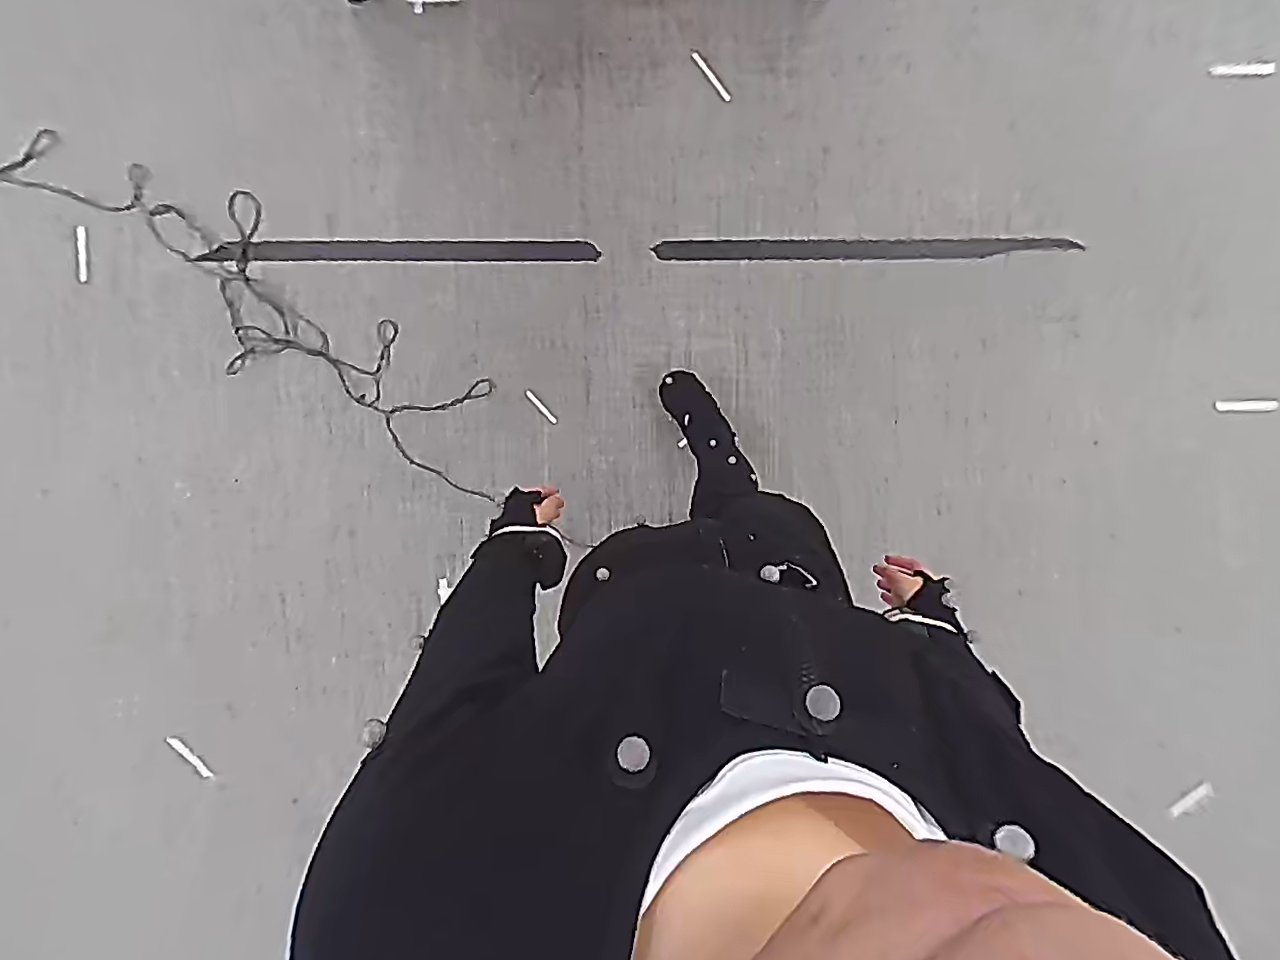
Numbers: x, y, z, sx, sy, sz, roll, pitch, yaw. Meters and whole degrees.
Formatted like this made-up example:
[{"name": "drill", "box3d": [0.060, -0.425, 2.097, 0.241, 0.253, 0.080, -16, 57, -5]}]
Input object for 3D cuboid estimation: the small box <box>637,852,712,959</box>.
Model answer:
[{"name": "small box", "box3d": [0.081, 1.066, 1.344, 0.179, 0.176, 0.168, 0, 93, 1]}]
